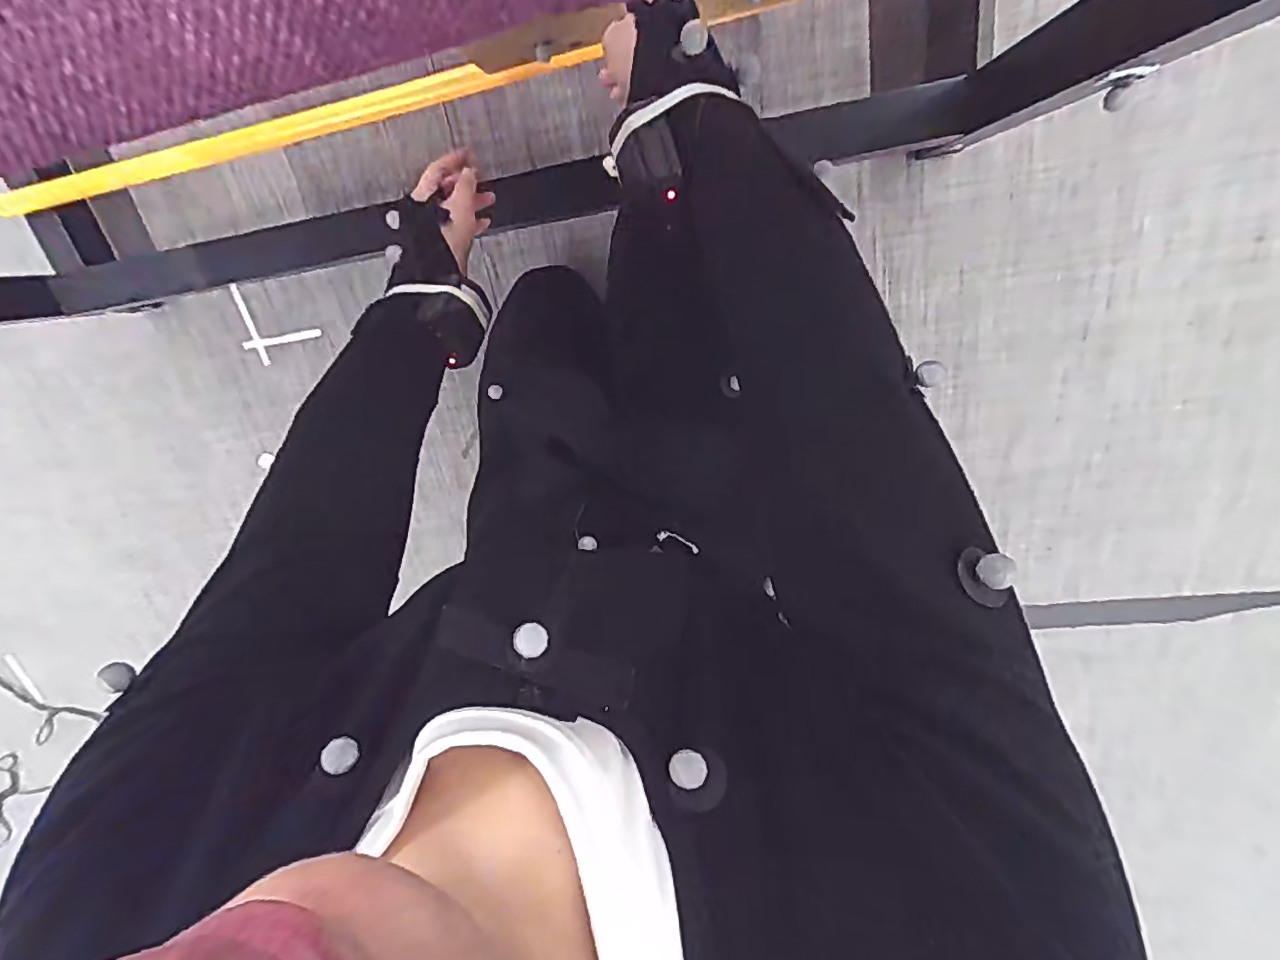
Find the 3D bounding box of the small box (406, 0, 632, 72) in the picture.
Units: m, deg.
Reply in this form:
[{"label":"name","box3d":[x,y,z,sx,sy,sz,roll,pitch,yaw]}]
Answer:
[{"label":"small box","box3d":[-0.107,-0.482,0.450,0.168,0.176,0.179,-7,114,10]}]

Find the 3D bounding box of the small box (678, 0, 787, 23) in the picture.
[{"label":"small box","box3d":[0.096,-0.506,0.417,0.168,0.176,0.179,-7,113,10]}]
